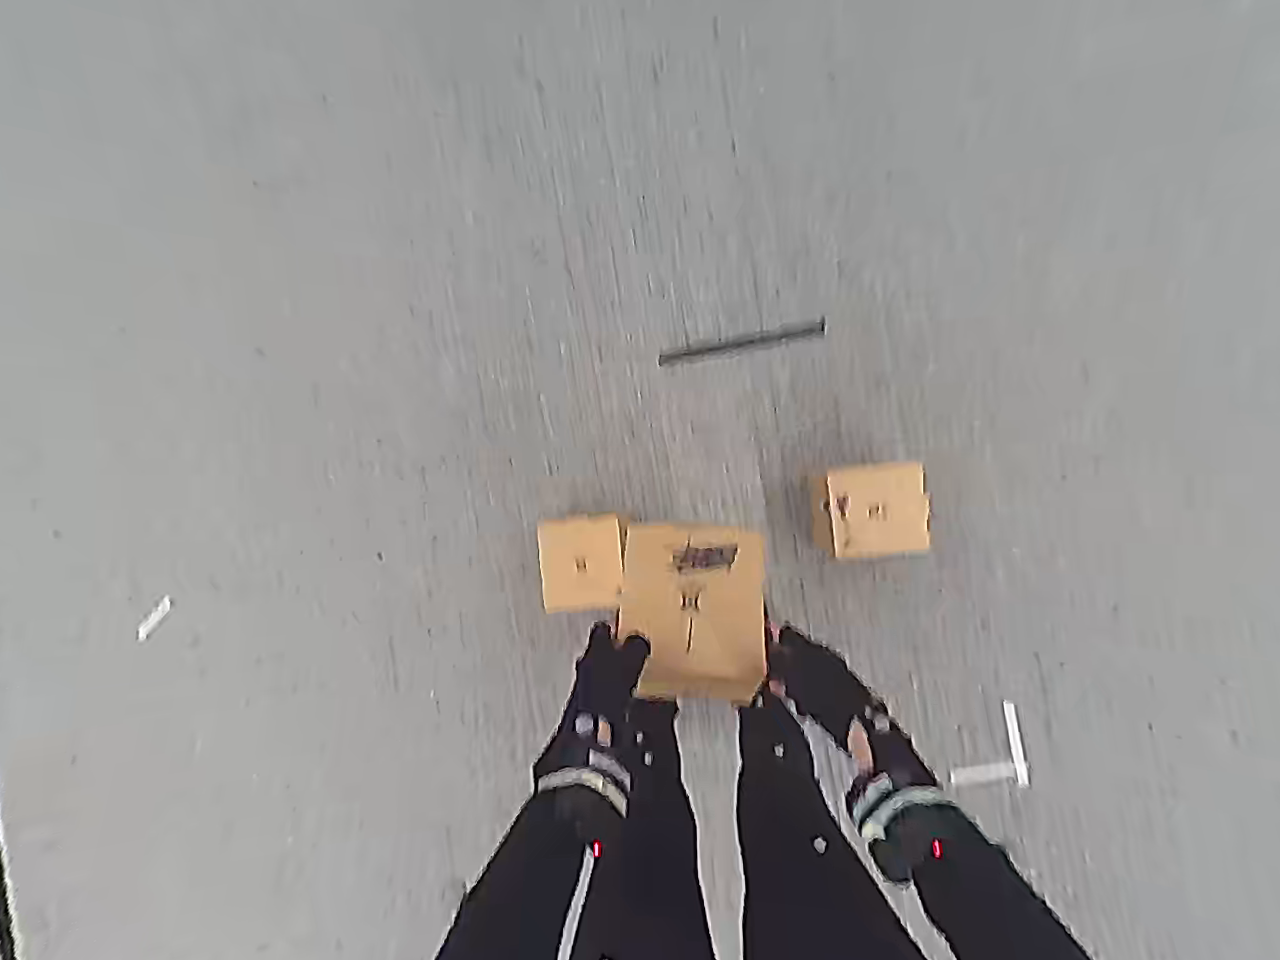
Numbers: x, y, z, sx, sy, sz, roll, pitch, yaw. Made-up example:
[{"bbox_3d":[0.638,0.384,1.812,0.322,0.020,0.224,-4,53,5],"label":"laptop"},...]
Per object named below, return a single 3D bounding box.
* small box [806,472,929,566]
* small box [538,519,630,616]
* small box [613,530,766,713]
[{"bbox_3d":[0.447,0.072,1.083,0.179,0.176,0.168,-6,89,4],"label":"small box"},{"bbox_3d":[-0.105,0.175,1.133,0.168,0.176,0.179,-6,90,6],"label":"small box"},{"bbox_3d":[0.062,0.180,0.679,0.168,0.176,0.179,2,59,5],"label":"small box"}]
